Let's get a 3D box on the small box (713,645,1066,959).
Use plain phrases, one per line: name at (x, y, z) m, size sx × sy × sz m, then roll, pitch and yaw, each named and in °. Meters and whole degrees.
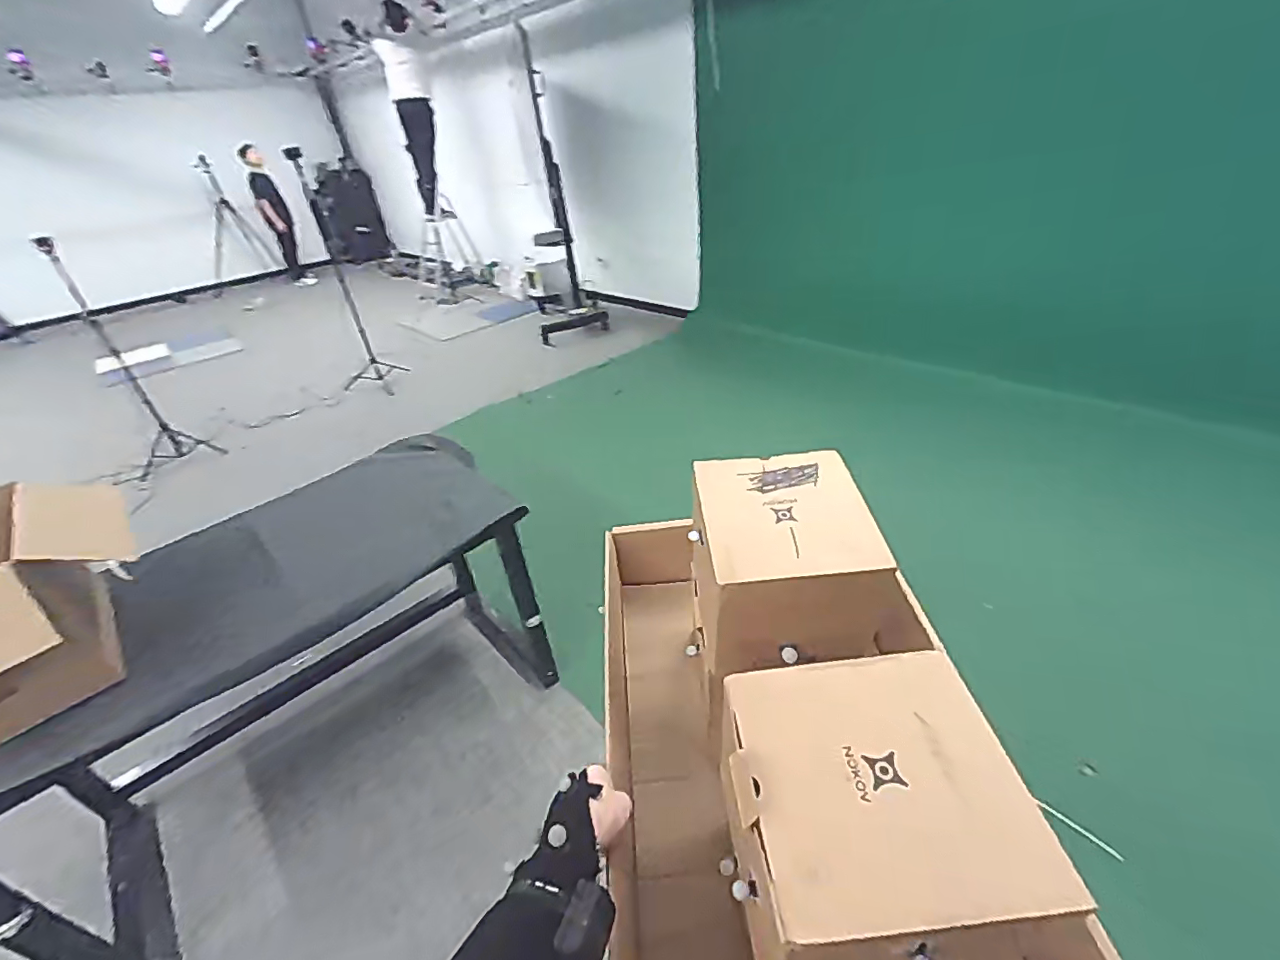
small box at (0.156, 0.253, 0.414) m, size 0.179 × 0.176 × 0.168 m, roll -6°, pitch 40°, yaw -2°
